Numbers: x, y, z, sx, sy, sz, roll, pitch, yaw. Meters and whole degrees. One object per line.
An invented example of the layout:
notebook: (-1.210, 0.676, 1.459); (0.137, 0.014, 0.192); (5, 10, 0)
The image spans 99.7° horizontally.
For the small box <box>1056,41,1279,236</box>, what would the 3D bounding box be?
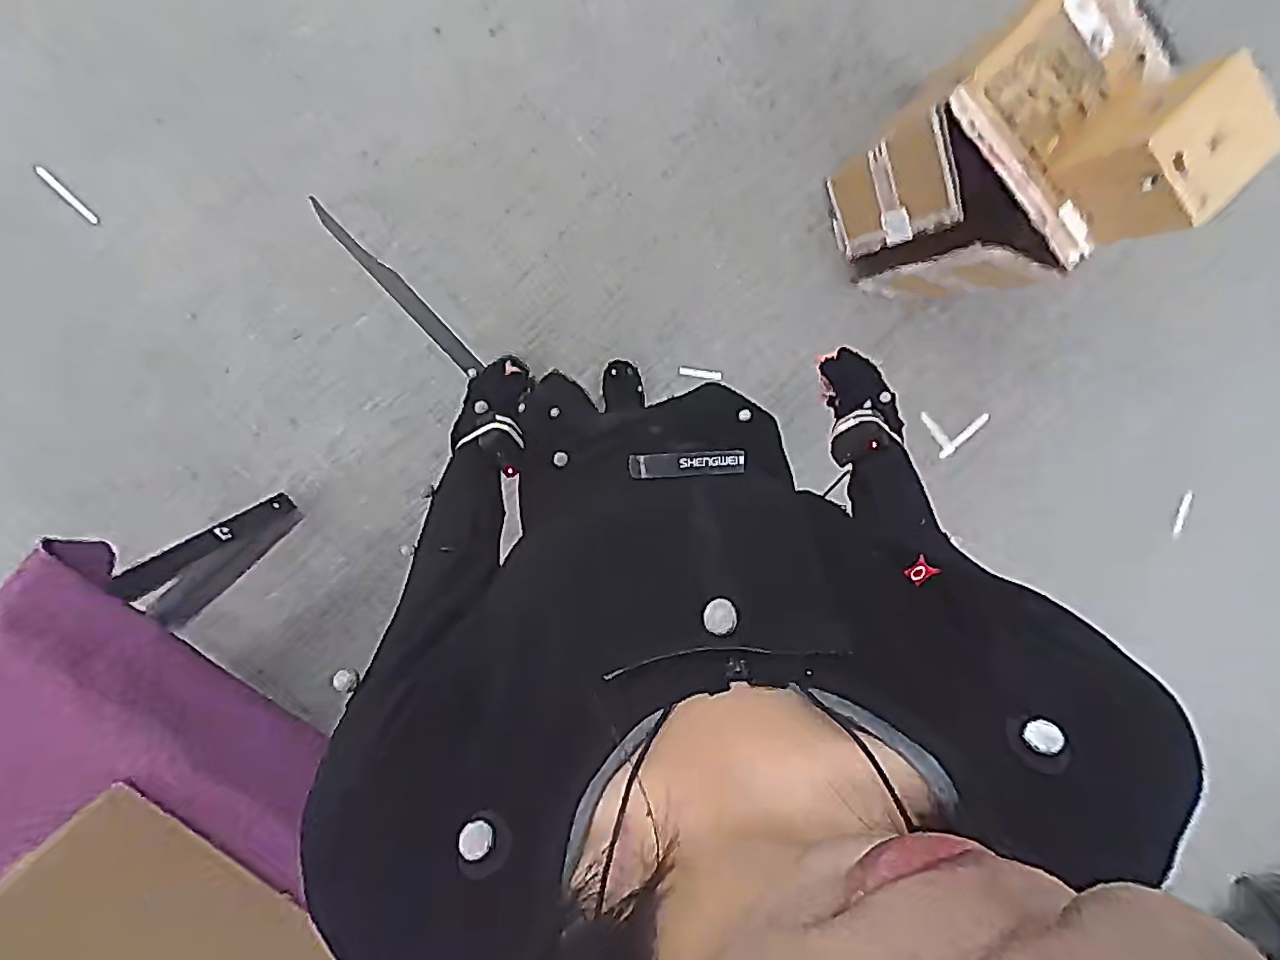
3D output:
small box: (0.831, -0.524, 0.862); (0.168, 0.176, 0.179); (42, 96, -14)
